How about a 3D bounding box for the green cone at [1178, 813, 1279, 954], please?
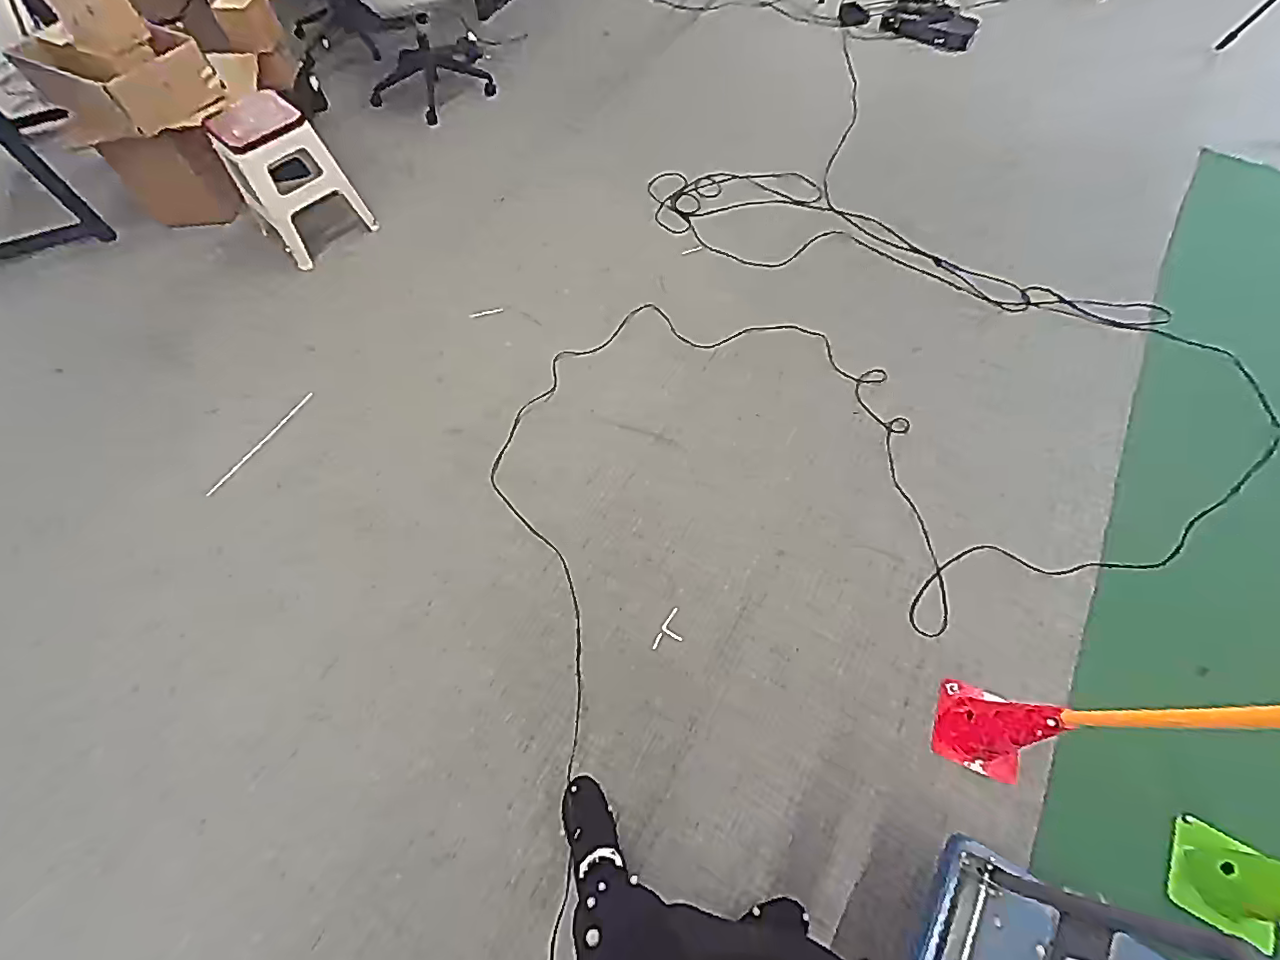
[{"bbox_3d":[1.303,0.803,1.044,0.202,0.368,0.200,27,66,15],"label":"green cone"}]
